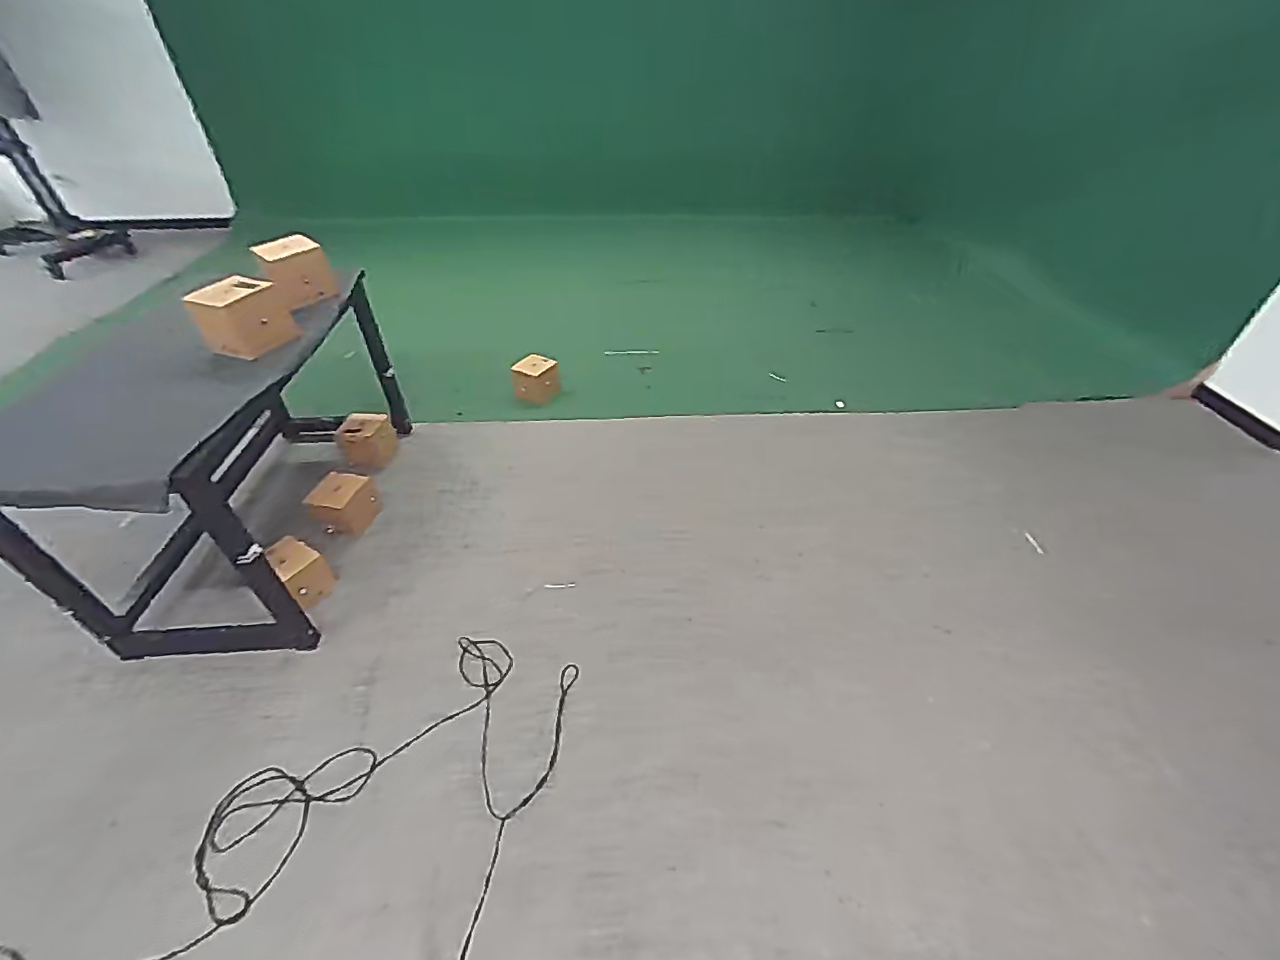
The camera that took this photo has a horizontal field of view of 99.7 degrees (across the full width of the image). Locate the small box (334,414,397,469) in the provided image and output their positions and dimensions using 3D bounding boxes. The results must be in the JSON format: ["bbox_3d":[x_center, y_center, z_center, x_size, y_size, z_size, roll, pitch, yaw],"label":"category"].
[{"bbox_3d":[-1.174,-0.164,2.333,0.168,0.176,0.179,2,40,1],"label":"small box"}]

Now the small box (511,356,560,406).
[{"bbox_3d":[-0.520,-0.494,2.723,0.168,0.176,0.179,22,46,23],"label":"small box"}]

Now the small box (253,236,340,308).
[{"bbox_3d":[-1.162,-0.707,1.842,0.179,0.176,0.168,32,53,31],"label":"small box"}]

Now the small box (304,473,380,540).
[{"bbox_3d":[-1.110,0.099,2.035,0.168,0.176,0.179,7,43,9],"label":"small box"}]

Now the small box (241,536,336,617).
[{"bbox_3d":[-1.148,0.323,1.781,0.179,0.176,0.168,21,45,22],"label":"small box"}]
